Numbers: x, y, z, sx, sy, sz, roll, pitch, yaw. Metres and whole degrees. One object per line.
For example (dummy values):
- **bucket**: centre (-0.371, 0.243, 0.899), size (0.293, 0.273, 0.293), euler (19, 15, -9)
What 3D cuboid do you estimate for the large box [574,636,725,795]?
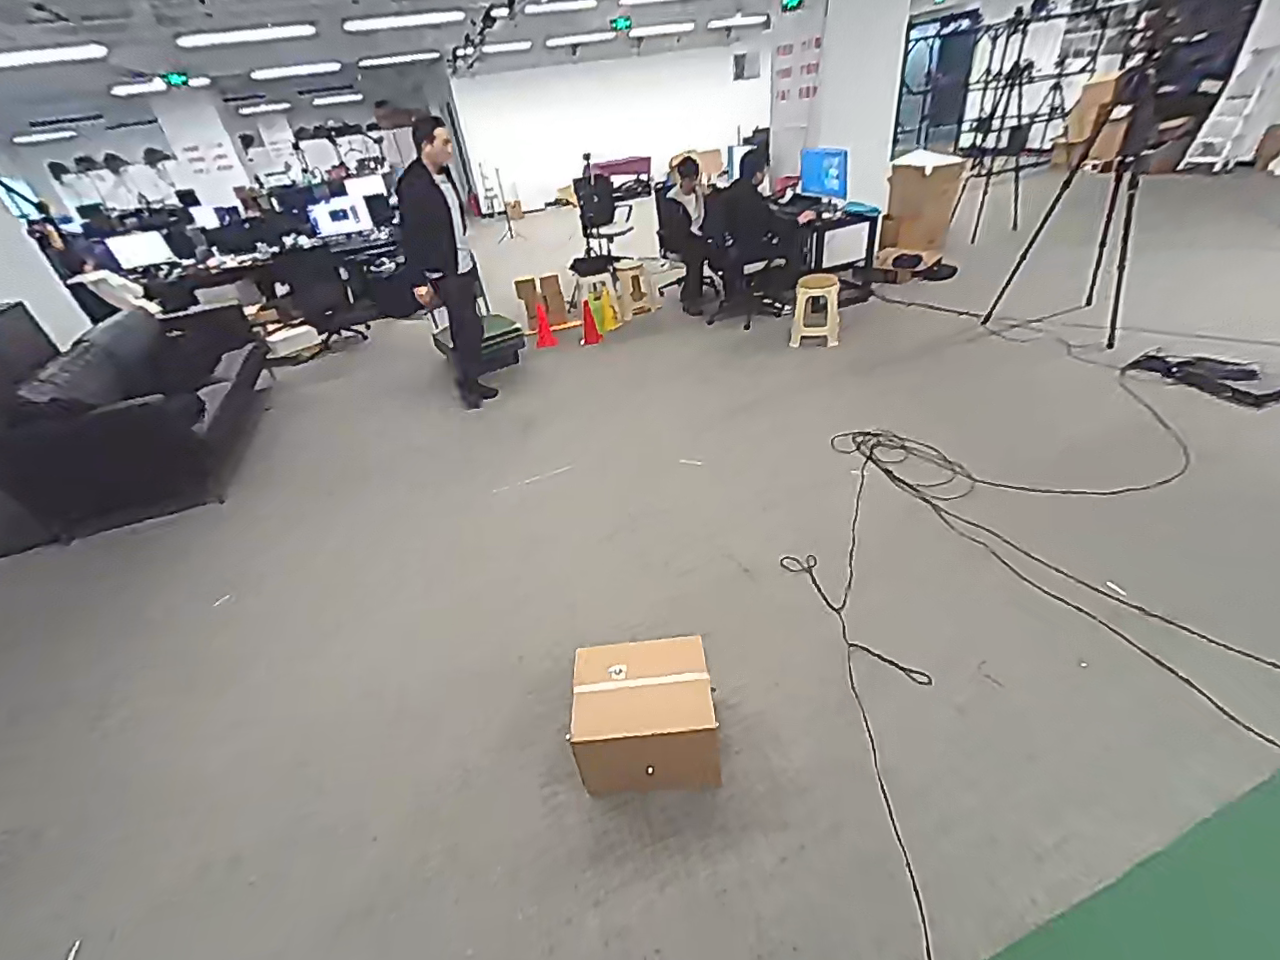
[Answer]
- **large box**: centre (0.033, 0.726, 1.668), size (0.408, 0.320, 0.320), euler (-8, 34, 3)
